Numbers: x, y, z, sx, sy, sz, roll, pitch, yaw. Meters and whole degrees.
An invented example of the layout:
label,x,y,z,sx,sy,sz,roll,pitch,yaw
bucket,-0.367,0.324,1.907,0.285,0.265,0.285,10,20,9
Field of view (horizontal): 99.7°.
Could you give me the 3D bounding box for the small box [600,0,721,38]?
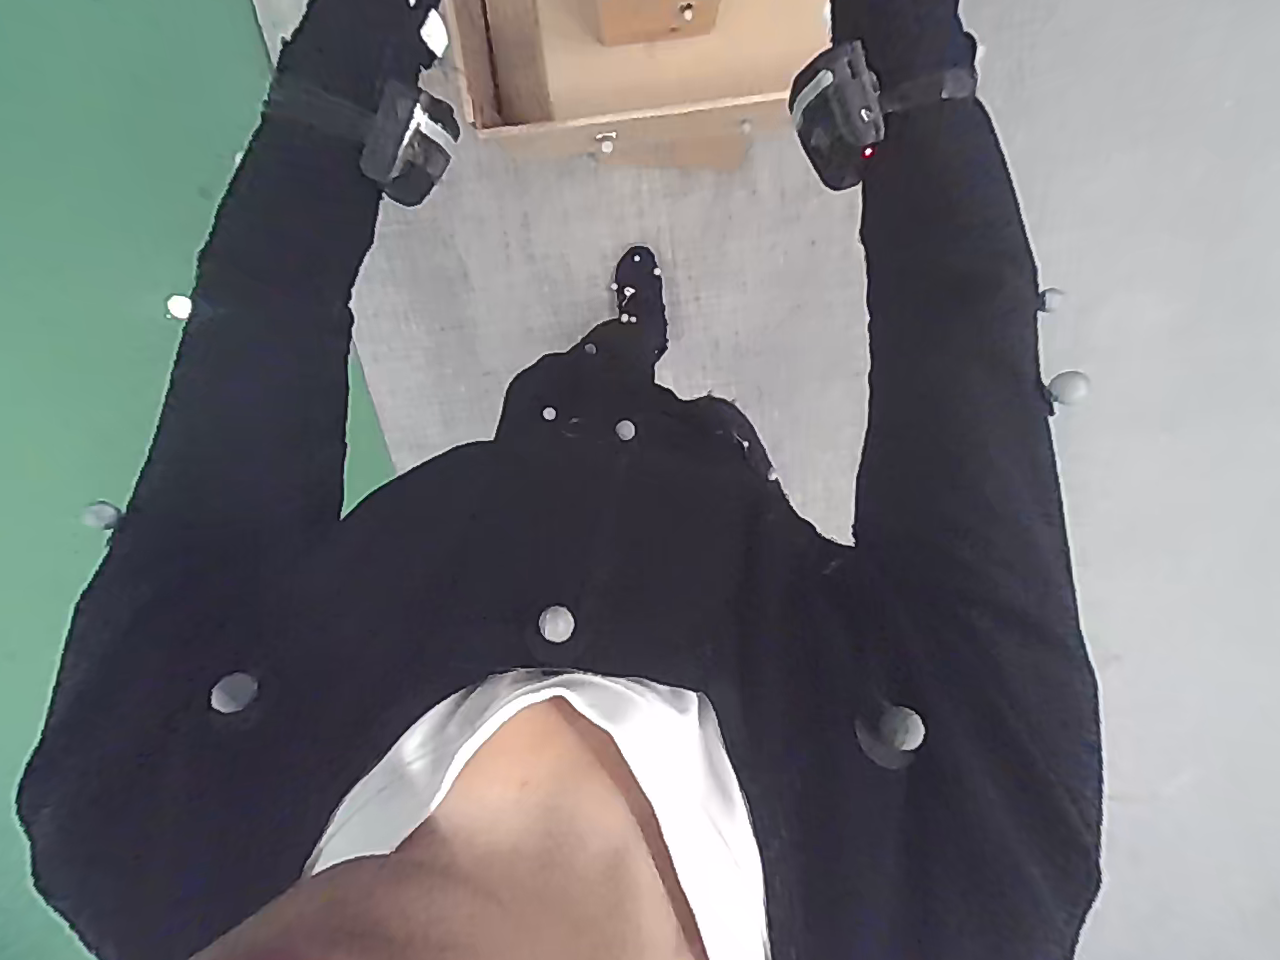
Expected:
label,x,y,z,sx,sy,sz,roll,pitch,yaw
small box,0.022,-0.710,0.698,0.168,0.176,0.179,-6,108,2
